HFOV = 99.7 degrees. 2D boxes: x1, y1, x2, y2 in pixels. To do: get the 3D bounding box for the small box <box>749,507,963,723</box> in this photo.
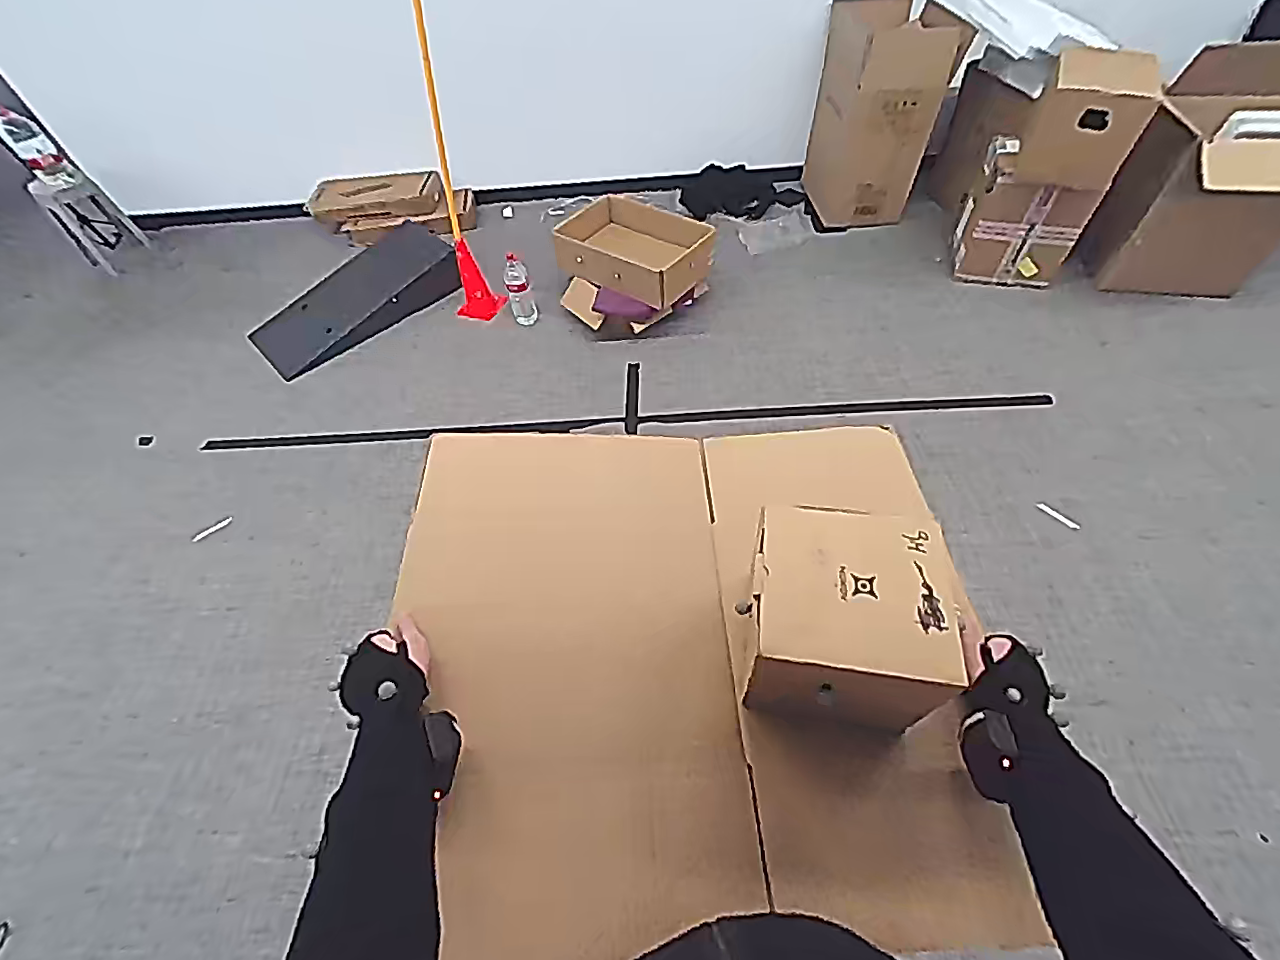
[{"bbox_3d":[0.212,0.148,0.581,0.179,0.176,0.168,5,55,10],"label":"small box"}]
